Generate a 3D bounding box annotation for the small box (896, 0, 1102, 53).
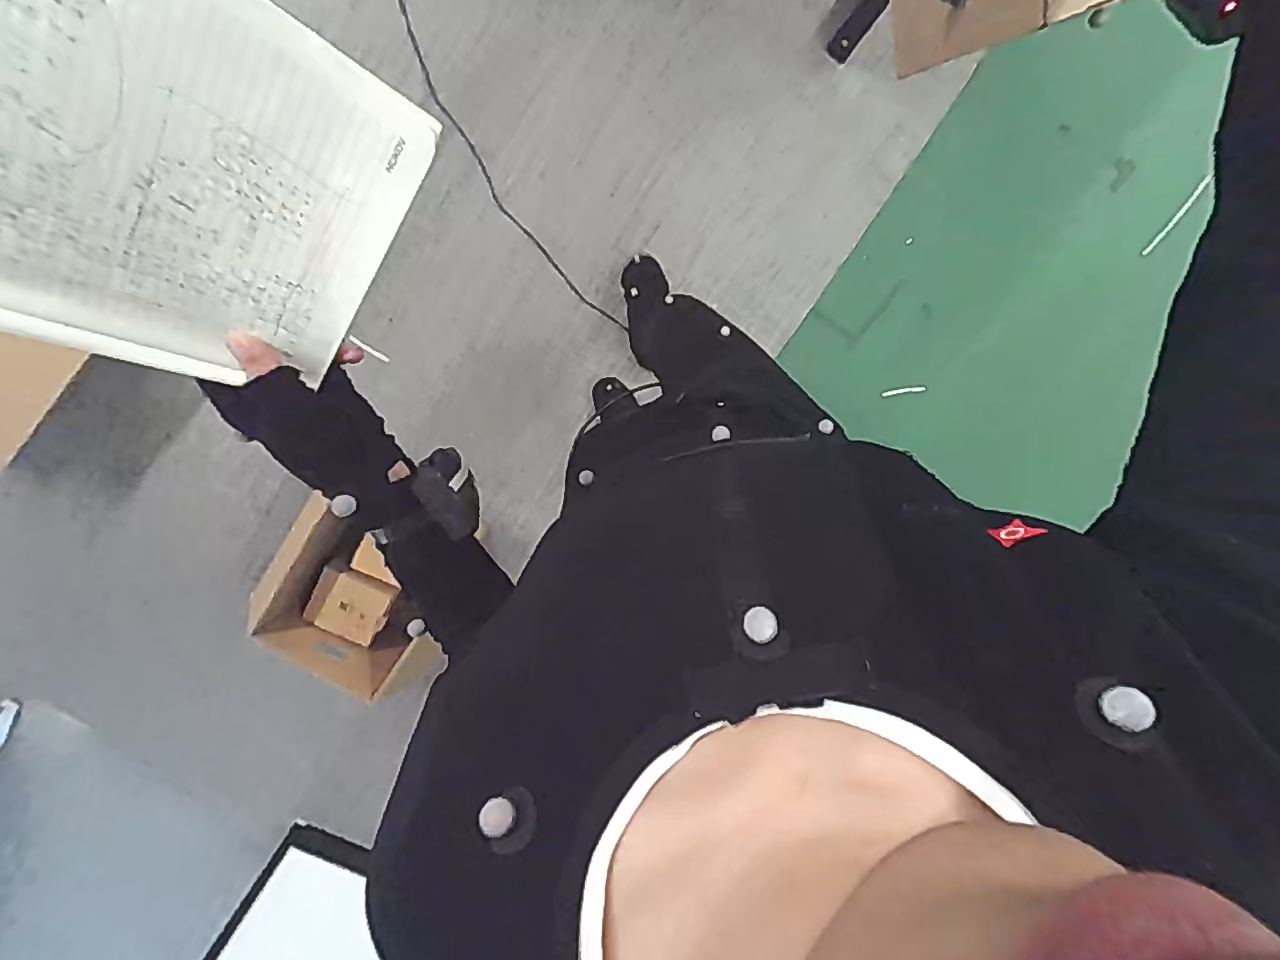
[{"bbox_3d":[0.304,-0.443,0.389,0.168,0.176,0.179,-21,119,-1],"label":"small box"}]
